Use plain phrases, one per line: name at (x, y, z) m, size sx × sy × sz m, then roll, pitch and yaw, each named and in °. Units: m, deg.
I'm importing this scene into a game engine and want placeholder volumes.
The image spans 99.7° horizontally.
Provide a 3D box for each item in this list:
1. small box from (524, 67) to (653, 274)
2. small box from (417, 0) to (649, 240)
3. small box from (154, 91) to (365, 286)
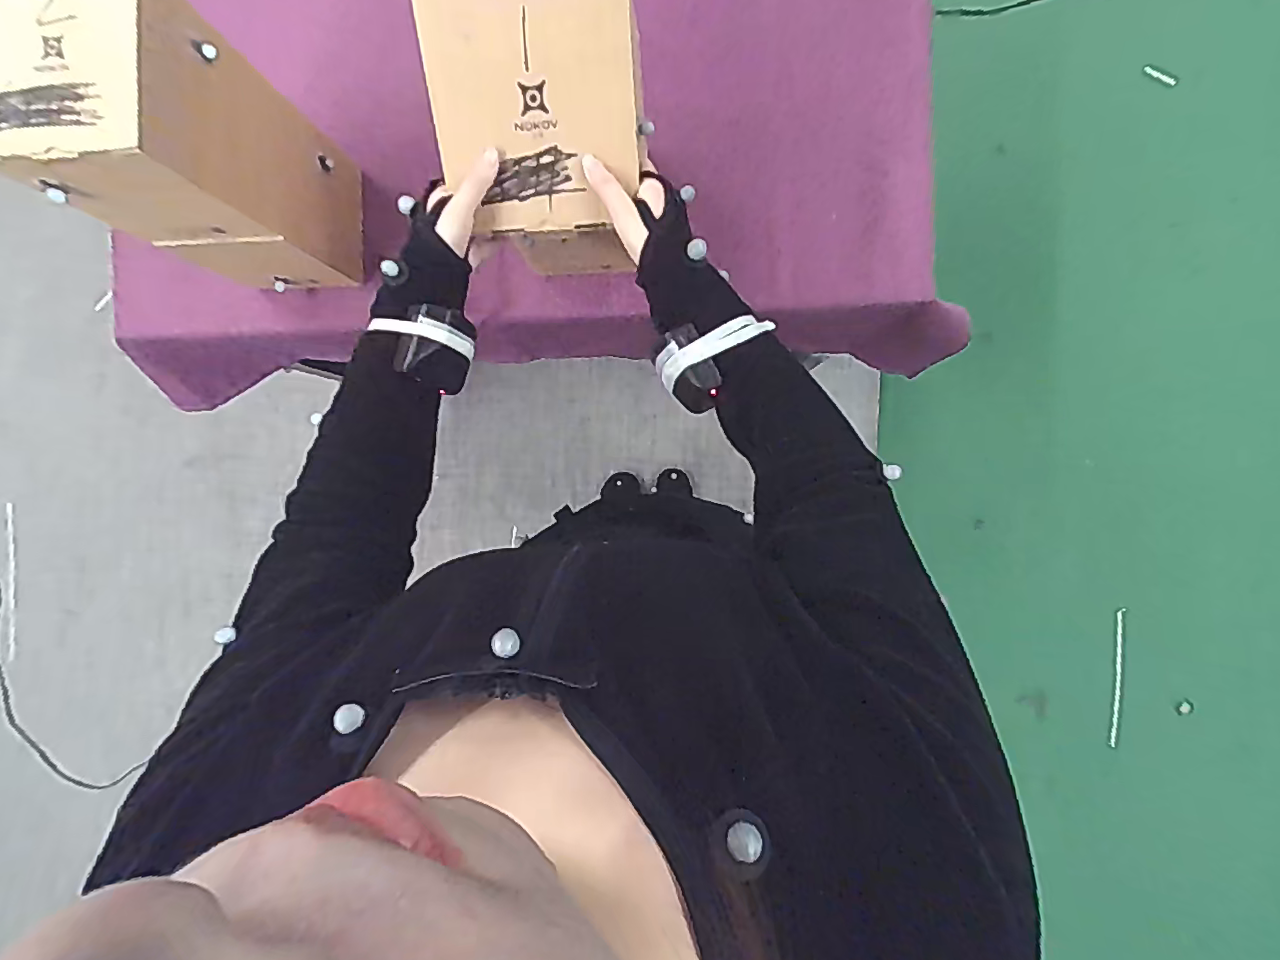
small box at (-0.071, -0.385, 0.695) m, size 0.168 × 0.176 × 0.179 m, roll -1°, pitch 90°, yaw 5°
small box at (-0.080, -0.330, 0.510) m, size 0.168 × 0.176 × 0.179 m, roll -2°, pitch 115°, yaw 4°
small box at (-0.491, -0.373, 0.721) m, size 0.168 × 0.176 × 0.179 m, roll 0°, pitch 92°, yaw 4°
